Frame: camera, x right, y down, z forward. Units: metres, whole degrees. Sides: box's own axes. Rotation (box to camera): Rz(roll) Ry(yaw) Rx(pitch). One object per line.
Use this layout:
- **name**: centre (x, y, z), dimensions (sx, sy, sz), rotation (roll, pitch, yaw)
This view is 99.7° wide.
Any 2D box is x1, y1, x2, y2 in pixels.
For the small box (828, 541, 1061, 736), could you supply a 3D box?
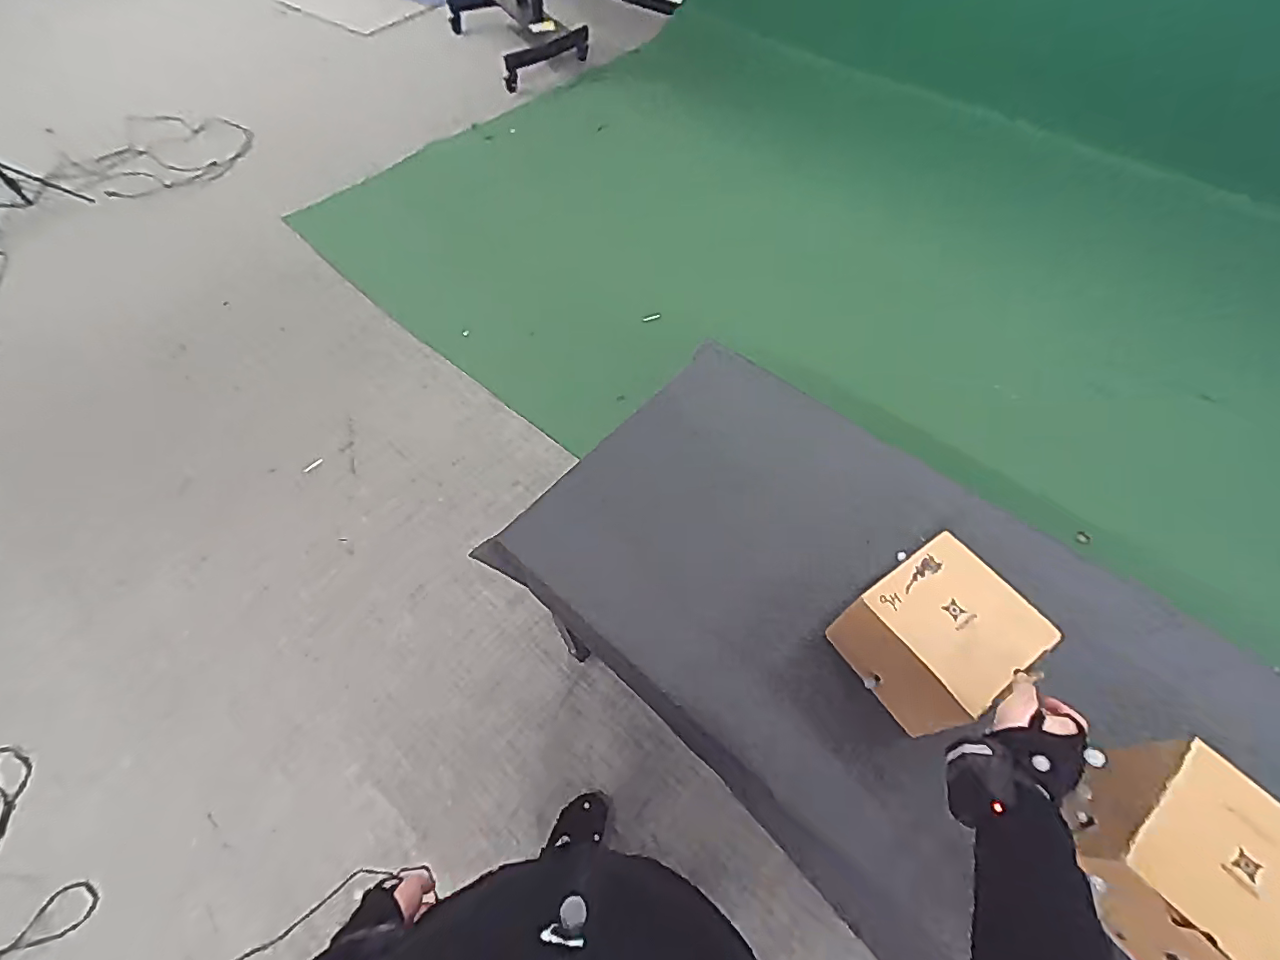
- **small box**: centre (0.388, 0.219, 0.723), dimensions (0.168, 0.176, 0.179), rotation (-29, 62, -18)

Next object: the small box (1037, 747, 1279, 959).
- **small box**: centre (0.585, 0.428, 0.587), dimensions (0.179, 0.176, 0.168), rotation (-34, 65, -21)
